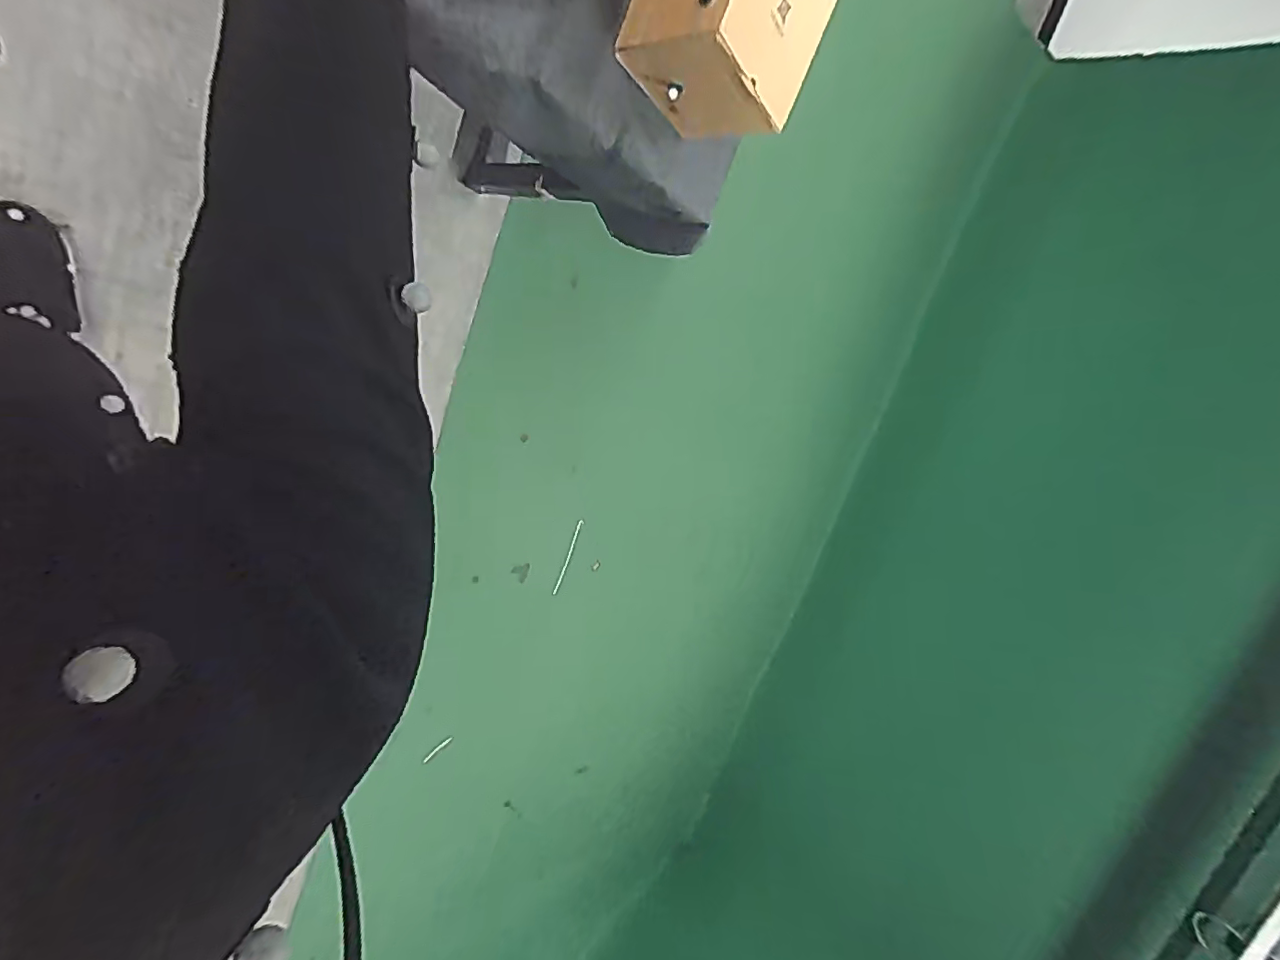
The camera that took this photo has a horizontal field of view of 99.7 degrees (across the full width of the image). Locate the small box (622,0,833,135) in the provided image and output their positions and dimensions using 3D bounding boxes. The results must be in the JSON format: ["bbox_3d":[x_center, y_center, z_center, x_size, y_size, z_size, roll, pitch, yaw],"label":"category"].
[{"bbox_3d":[0.104,-0.562,0.667,0.168,0.176,0.179,14,101,-51],"label":"small box"}]
